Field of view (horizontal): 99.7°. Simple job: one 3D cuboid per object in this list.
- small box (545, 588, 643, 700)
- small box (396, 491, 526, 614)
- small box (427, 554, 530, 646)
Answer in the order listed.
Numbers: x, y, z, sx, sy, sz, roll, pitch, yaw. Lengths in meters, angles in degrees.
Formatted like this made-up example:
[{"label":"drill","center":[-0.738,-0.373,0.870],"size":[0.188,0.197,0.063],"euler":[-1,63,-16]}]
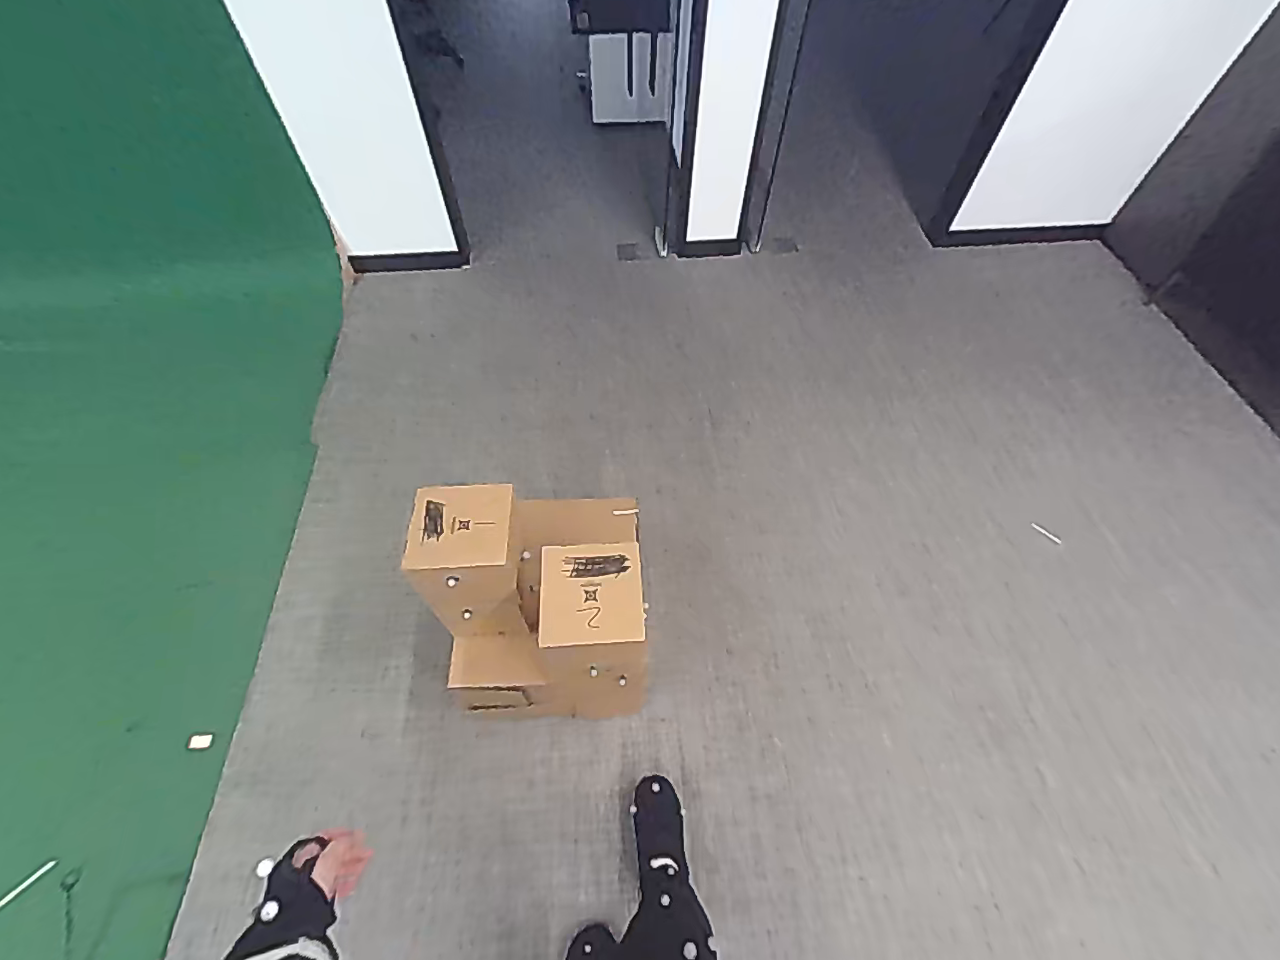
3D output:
[{"label":"small box","center":[-0.091,0.326,1.070],"size":[0.179,0.176,0.168],"euler":[-3,54,-4]},{"label":"small box","center":[-0.317,0.137,0.994],"size":[0.179,0.176,0.168],"euler":[-3,54,-2]},{"label":"small box","center":[-0.326,0.232,1.131],"size":[0.168,0.176,0.179],"euler":[-2,53,-3]}]
